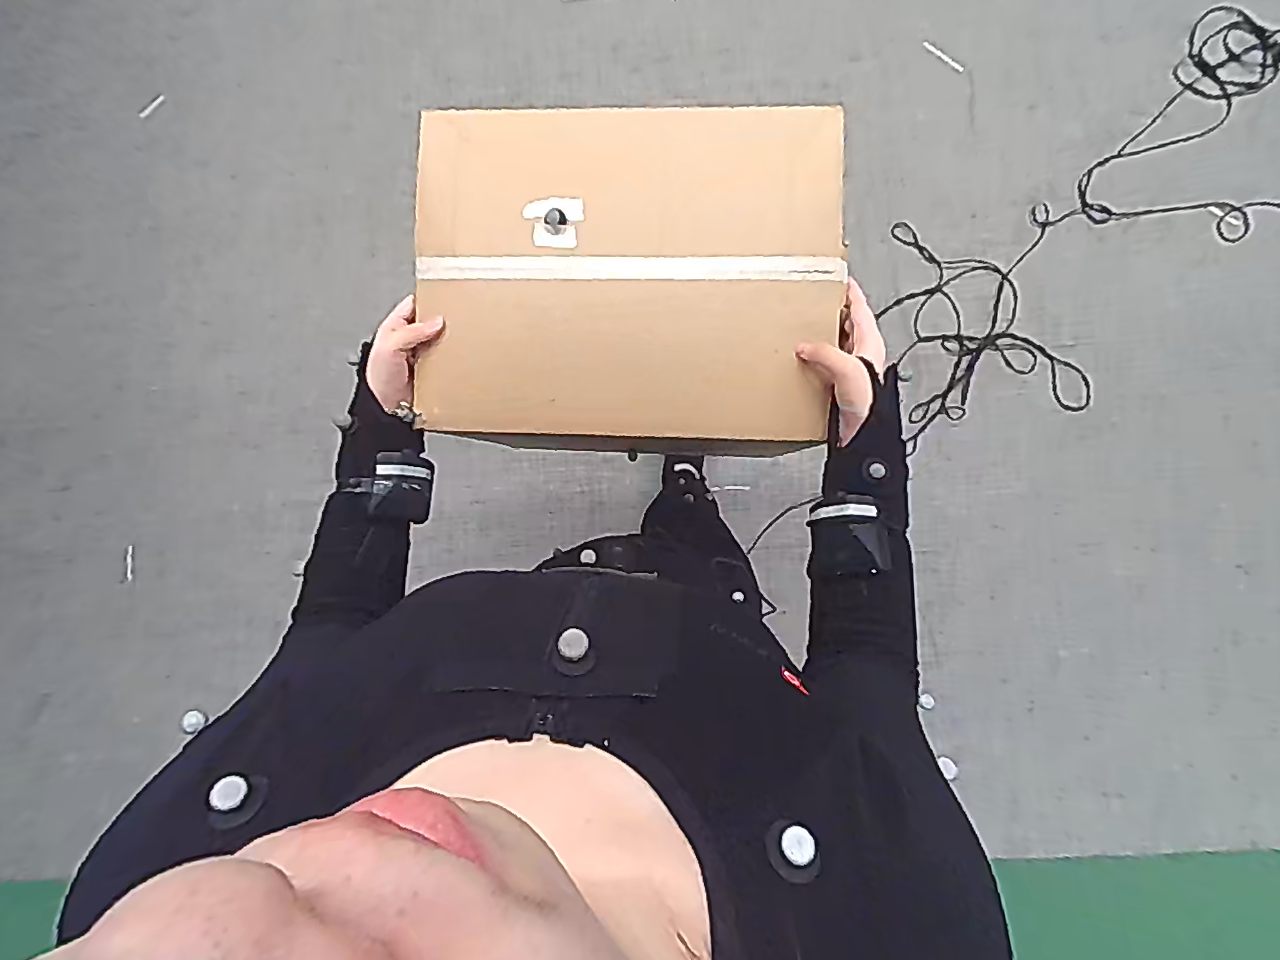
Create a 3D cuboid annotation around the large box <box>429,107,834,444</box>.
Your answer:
[{"bbox_3d":[0.000,-0.205,0.678,0.408,0.320,0.320,1,90,5],"label":"large box"}]
